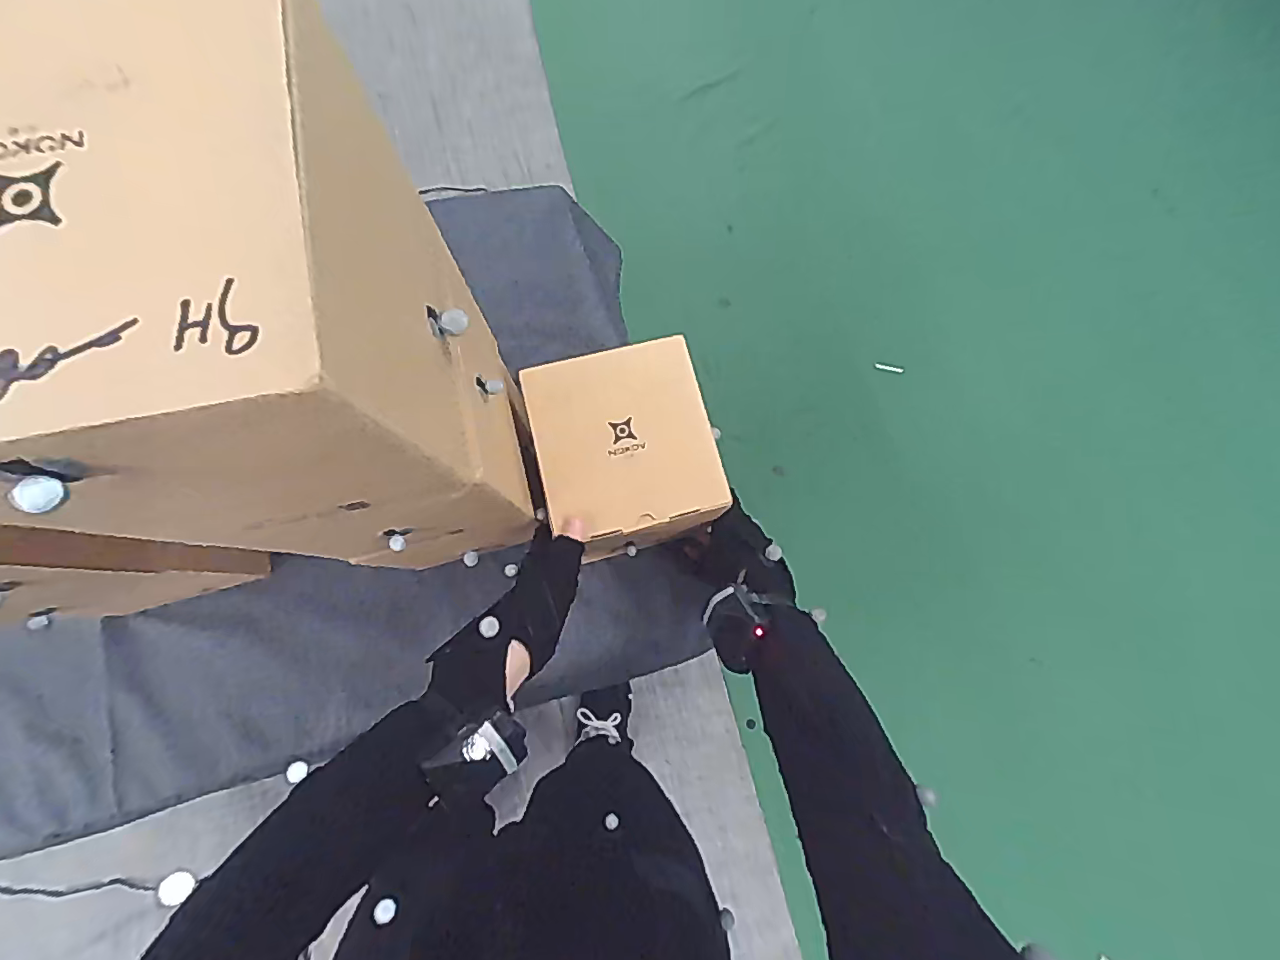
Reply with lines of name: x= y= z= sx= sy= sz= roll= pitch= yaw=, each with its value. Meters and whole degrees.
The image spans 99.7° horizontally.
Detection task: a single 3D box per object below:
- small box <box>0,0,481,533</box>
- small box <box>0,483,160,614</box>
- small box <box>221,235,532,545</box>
small box: x=-0.185 y=-0.082 z=0.255 sx=0.168 sy=0.176 sz=0.179 roll=-11 pitch=78 yaw=-3
small box: x=-0.503 y=0.004 z=0.396 sx=0.179 sy=0.176 sz=0.168 roll=-17 pitch=78 yaw=-5
small box: x=-0.188 y=-0.050 z=0.417 sx=0.168 sy=0.176 sz=0.179 roll=-12 pitch=79 yaw=-4
